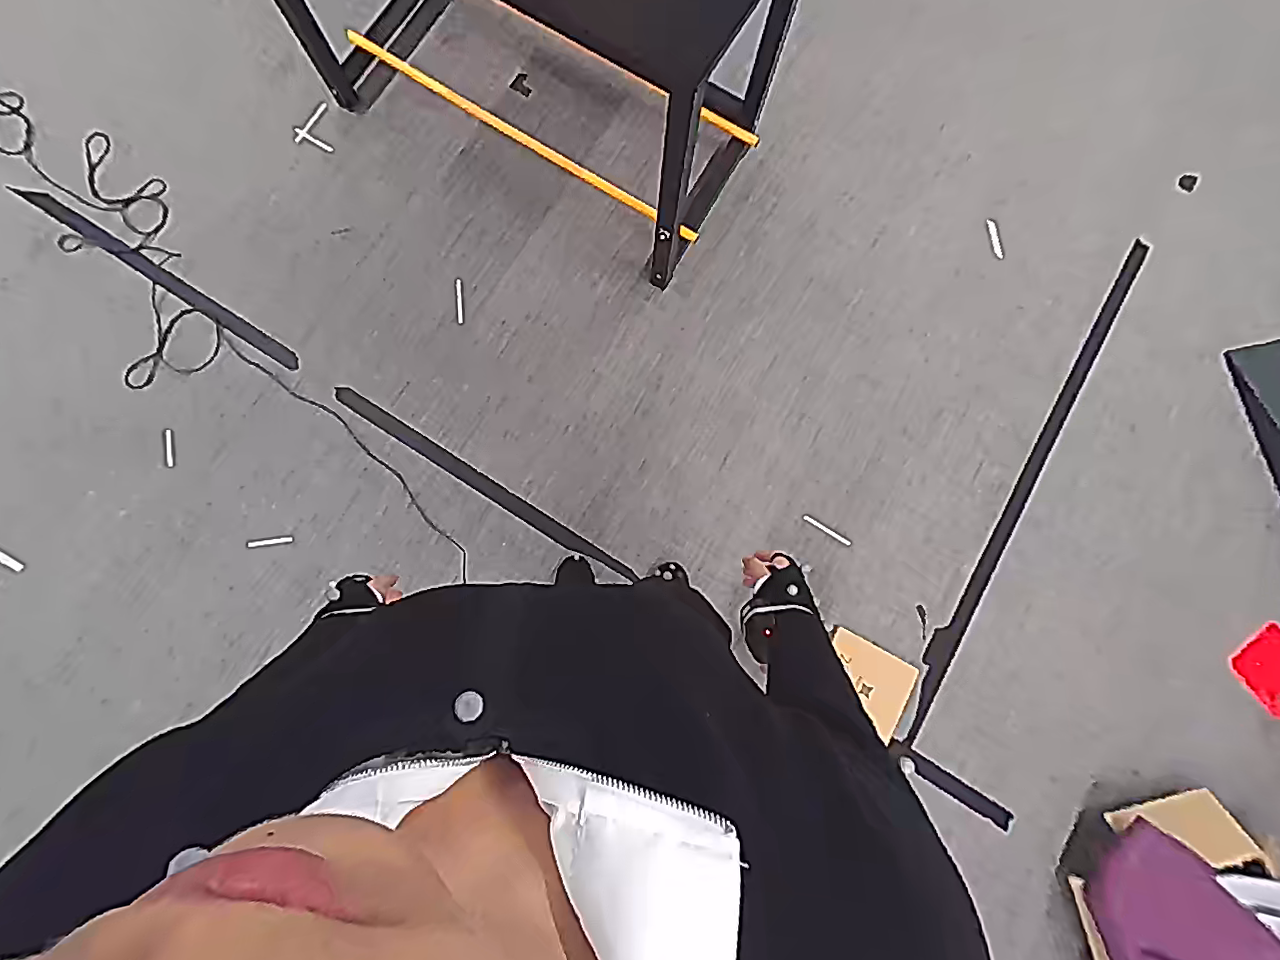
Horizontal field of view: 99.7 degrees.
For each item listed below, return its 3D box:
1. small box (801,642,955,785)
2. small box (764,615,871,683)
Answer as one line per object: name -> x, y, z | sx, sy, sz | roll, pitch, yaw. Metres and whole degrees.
small box -> 0.435, 0.422, 1.014 | 0.179, 0.176, 0.168 | 29, 81, 2
small box -> 0.433, 0.446, 1.344 | 0.179, 0.176, 0.168 | 25, 81, 3
